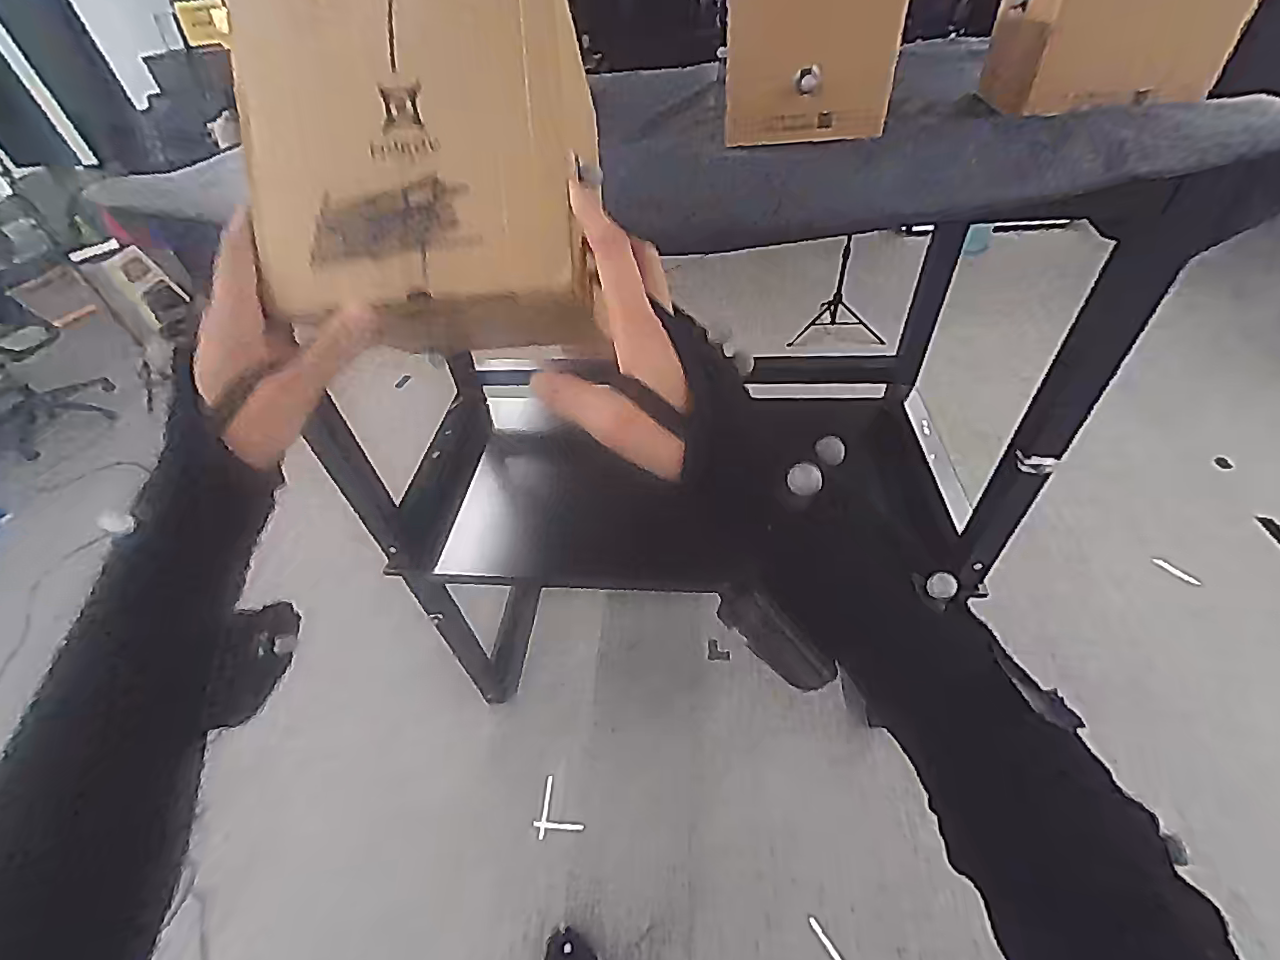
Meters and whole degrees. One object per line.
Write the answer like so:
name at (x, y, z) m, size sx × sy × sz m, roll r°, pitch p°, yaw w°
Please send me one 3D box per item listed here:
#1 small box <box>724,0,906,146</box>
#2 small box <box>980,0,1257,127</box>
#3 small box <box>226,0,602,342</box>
small box at (0.178, -0.479, 0.590) m, size 0.168 × 0.176 × 0.179 m, roll 2°, pitch 44°, yaw 9°
small box at (0.486, -0.482, 0.561) m, size 0.168 × 0.176 × 0.179 m, roll 3°, pitch 45°, yaw 10°
small box at (-0.118, -0.190, 0.352) m, size 0.168 × 0.179 × 0.176 m, roll -3°, pitch 4°, yaw 3°
